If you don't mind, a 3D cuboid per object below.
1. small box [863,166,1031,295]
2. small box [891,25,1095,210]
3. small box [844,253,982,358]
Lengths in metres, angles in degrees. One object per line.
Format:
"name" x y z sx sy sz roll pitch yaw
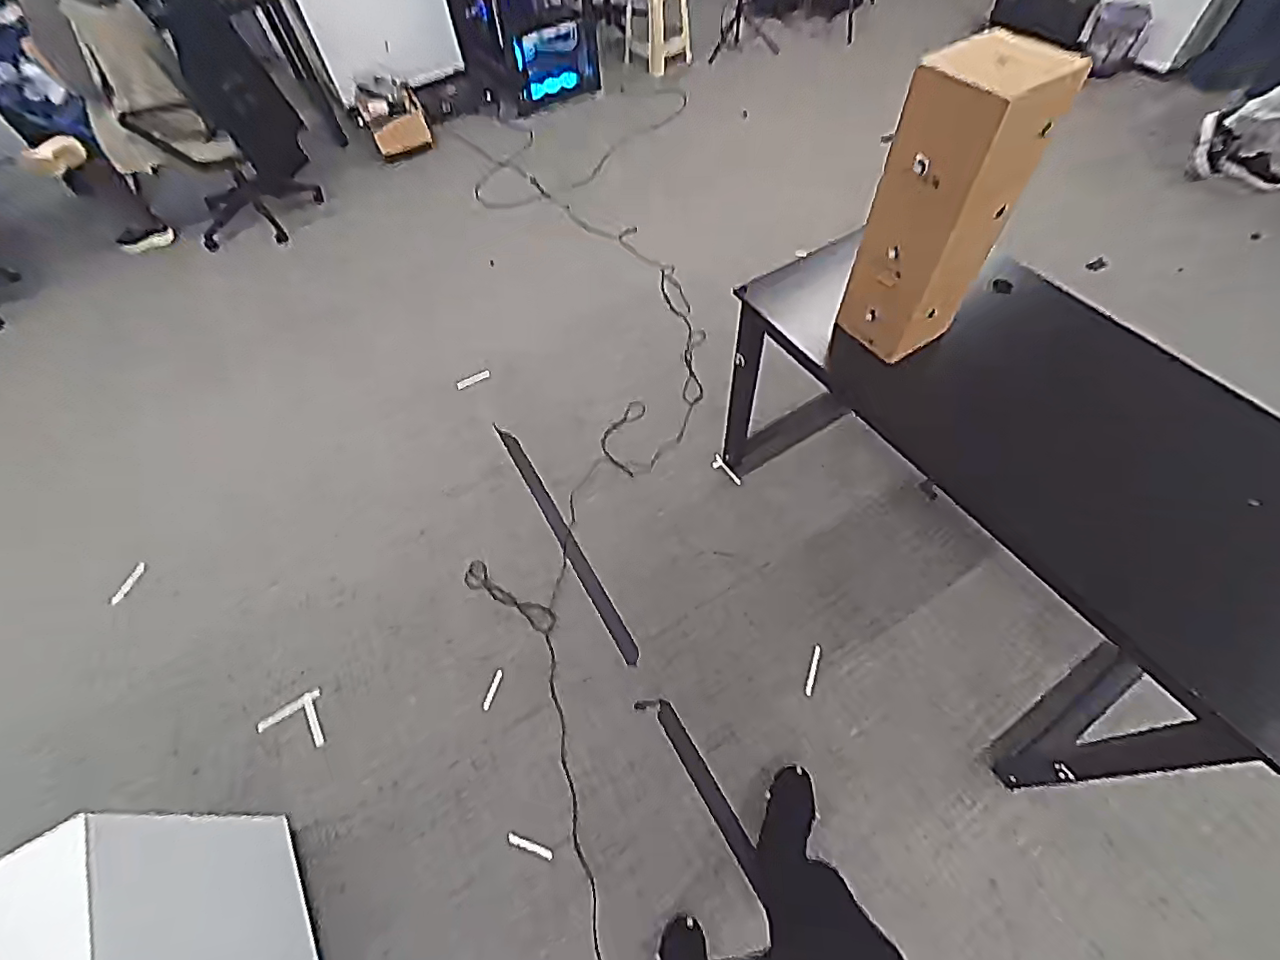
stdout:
"small box" 0.538 -0.472 0.977 0.179 0.176 0.168 -30 60 -14
"small box" 0.529 -0.558 0.840 0.179 0.176 0.168 -30 59 -14
"small box" 0.547 -0.384 1.116 0.179 0.176 0.168 -31 61 -14
